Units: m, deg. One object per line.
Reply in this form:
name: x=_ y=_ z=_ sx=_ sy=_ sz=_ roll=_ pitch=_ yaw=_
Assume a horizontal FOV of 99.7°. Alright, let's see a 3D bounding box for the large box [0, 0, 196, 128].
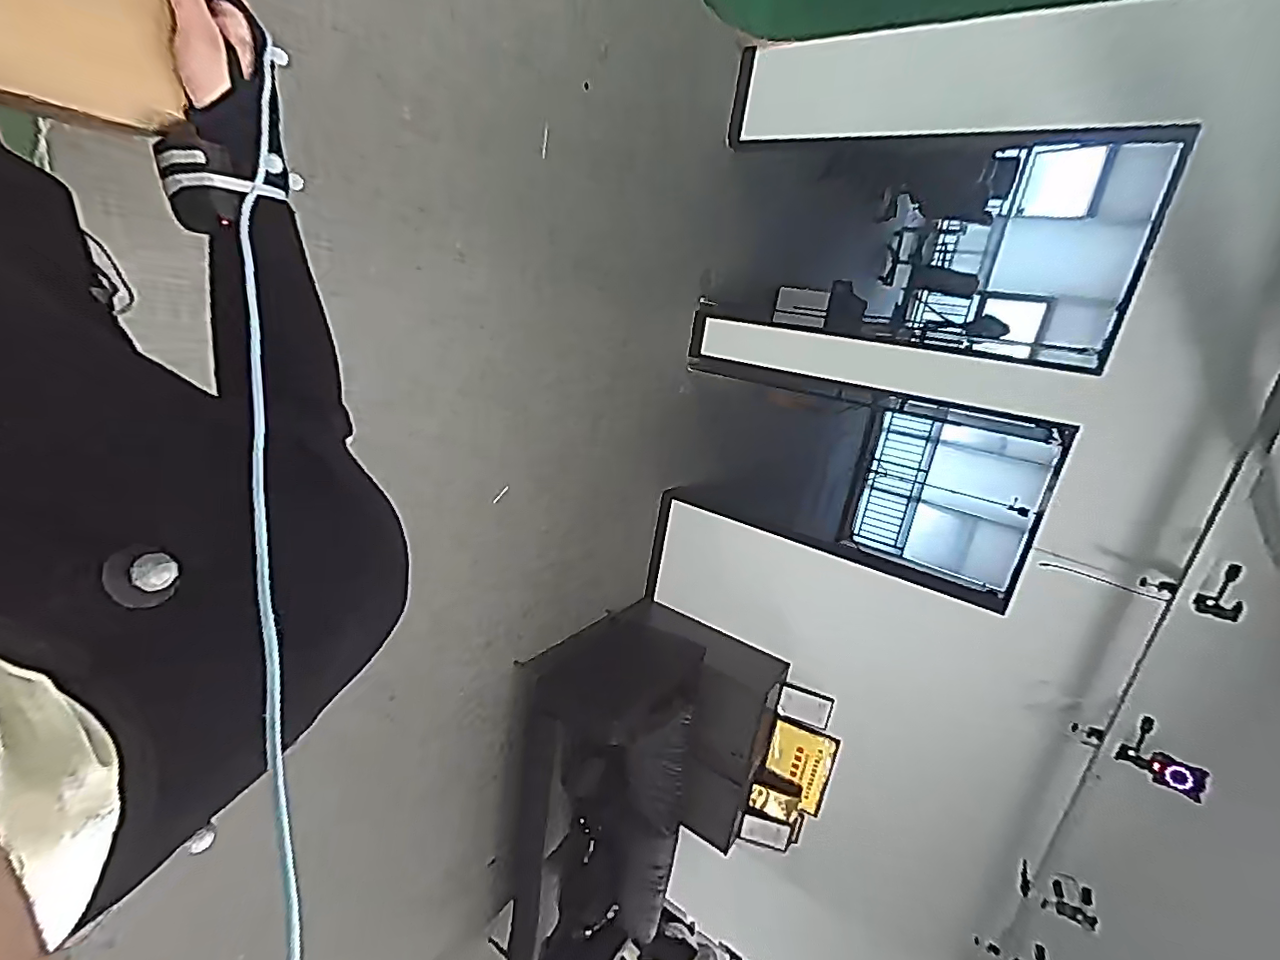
large box: x=-0.574 y=-0.450 z=0.323 sx=0.408 sy=0.320 sz=0.320 roll=-13 pitch=122 yaw=-51
